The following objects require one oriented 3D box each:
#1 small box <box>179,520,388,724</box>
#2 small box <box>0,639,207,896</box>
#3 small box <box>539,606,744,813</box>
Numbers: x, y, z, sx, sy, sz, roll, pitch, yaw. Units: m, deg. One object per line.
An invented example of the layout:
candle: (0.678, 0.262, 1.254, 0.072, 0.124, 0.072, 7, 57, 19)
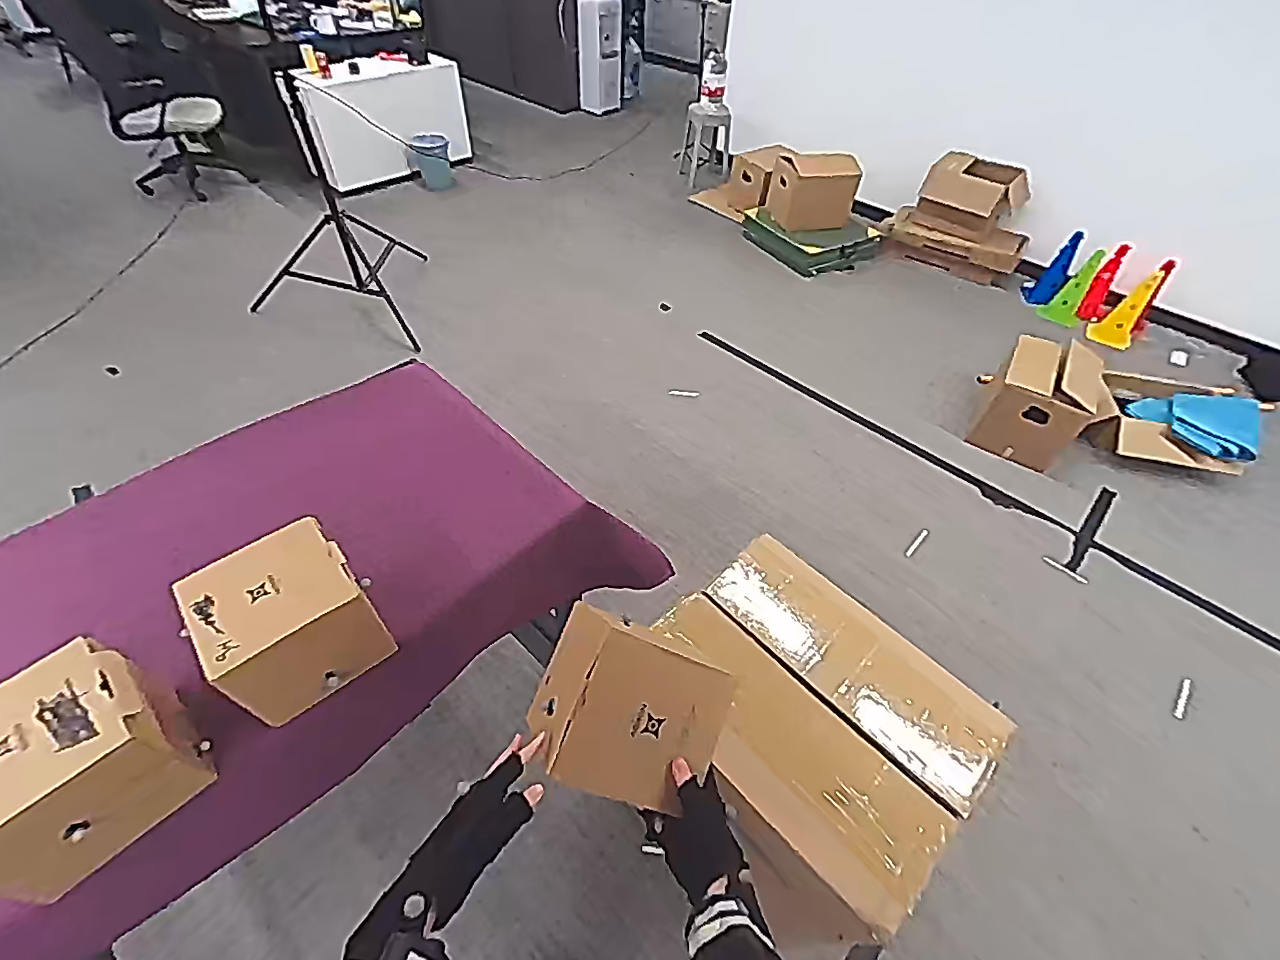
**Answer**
small box: (-0.472, 0.194, 0.745, 0.179, 0.176, 0.168, -32, 57, -29)
small box: (-0.643, 0.325, 0.615, 0.168, 0.176, 0.179, 35, 56, 26)
small box: (-0.009, 0.266, 0.668, 0.179, 0.176, 0.168, 26, 79, -16)
